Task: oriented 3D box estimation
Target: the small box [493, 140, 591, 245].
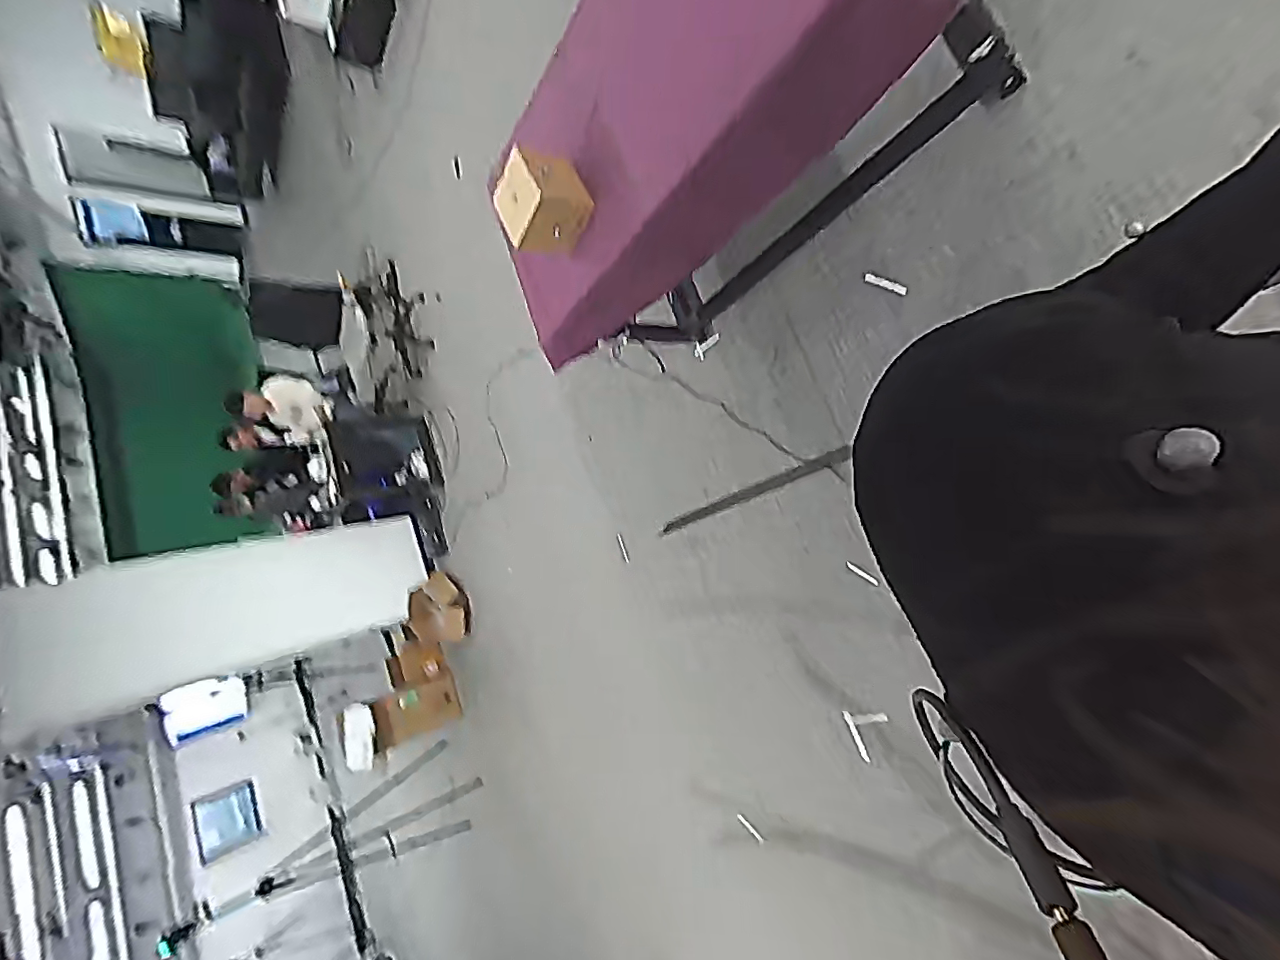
[{"bbox_3d":[-0.254,-0.738,1.409,0.168,0.176,0.179,-42,67,44],"label":"small box"}]
